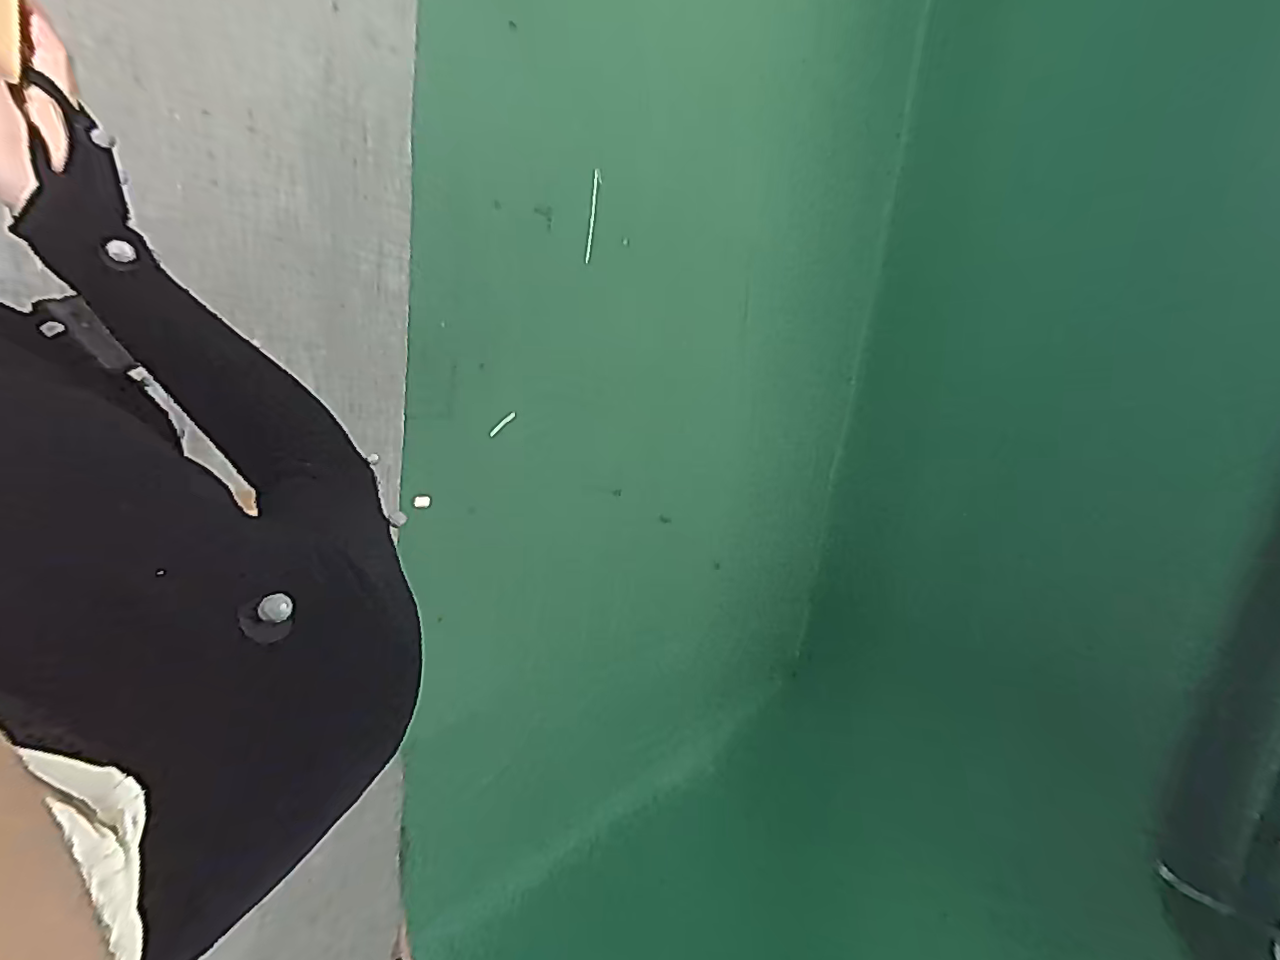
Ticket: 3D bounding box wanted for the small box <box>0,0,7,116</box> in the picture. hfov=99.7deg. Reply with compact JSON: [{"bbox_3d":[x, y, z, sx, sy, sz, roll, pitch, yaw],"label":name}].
[{"bbox_3d":[-0.540,-0.375,0.346,0.168,0.176,0.179,0,100,-46],"label":"small box"}]
